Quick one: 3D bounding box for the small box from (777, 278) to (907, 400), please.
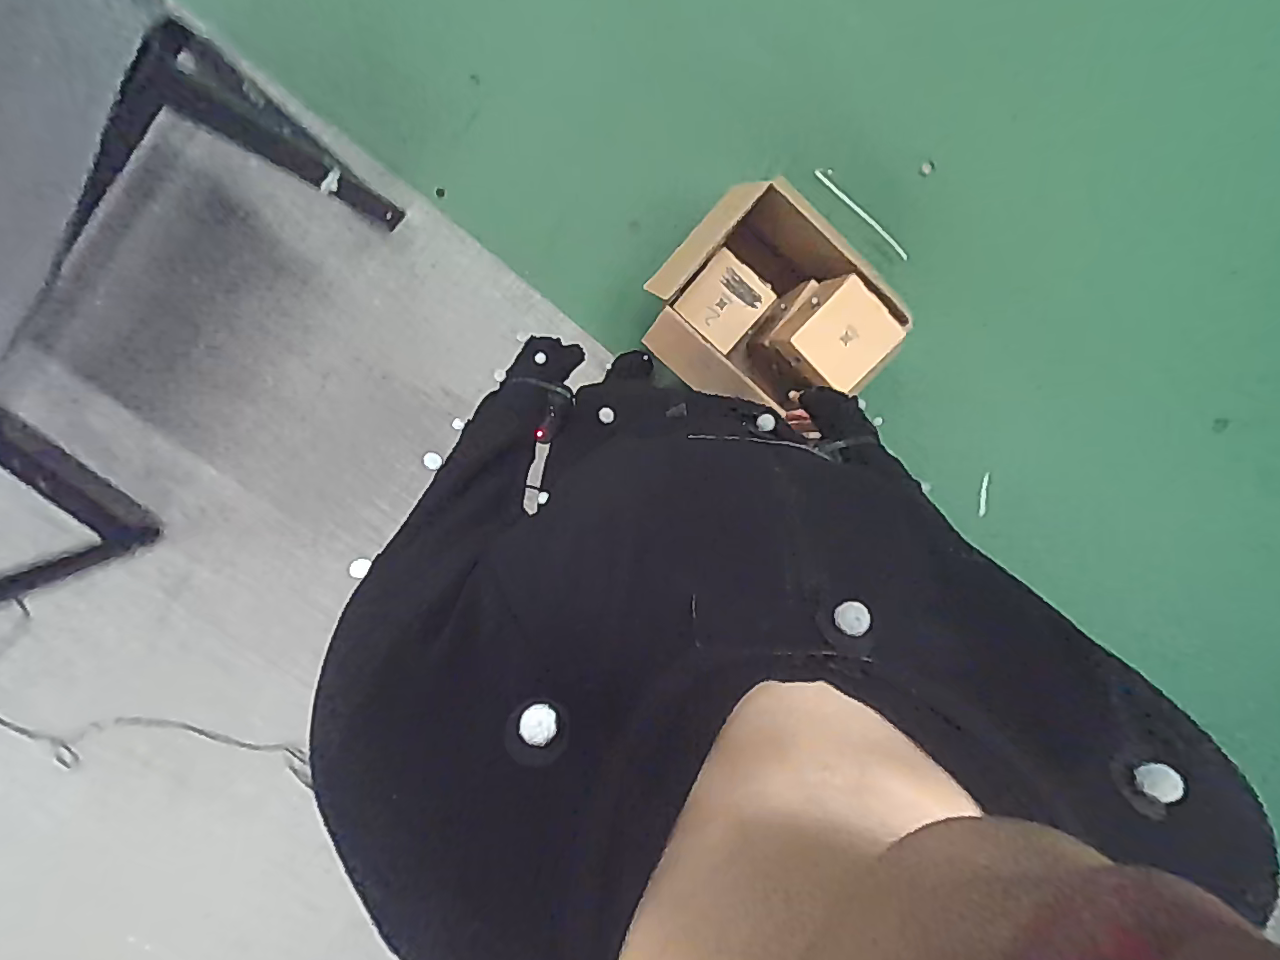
[{"bbox_3d":[0.412,-0.292,1.142,0.168,0.176,0.179,43,99,-11],"label":"small box"}]
